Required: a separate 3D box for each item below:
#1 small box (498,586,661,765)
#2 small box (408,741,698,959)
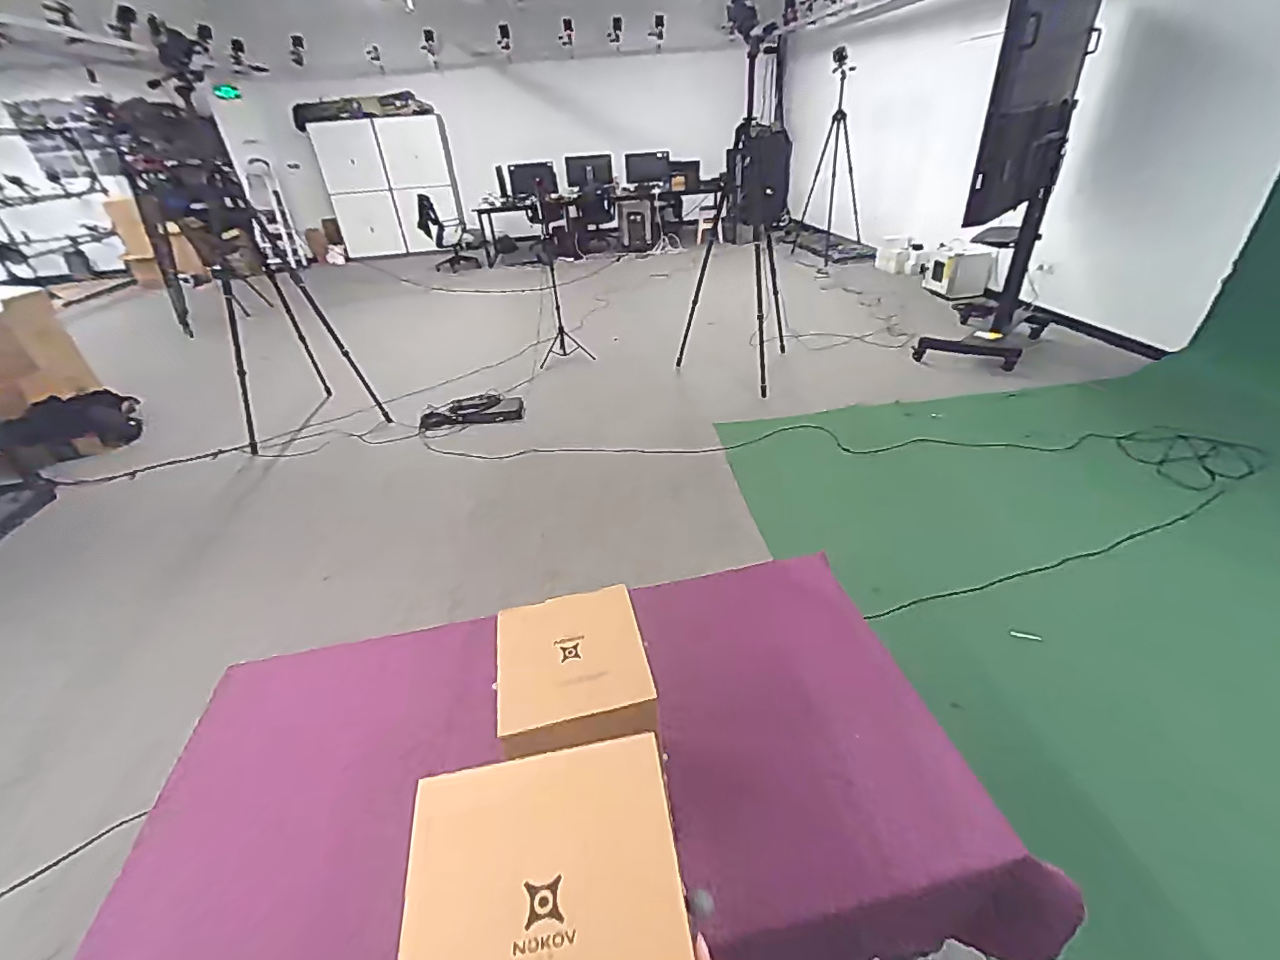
[{"bbox_3d":[-0.073,0.263,0.662,0.168,0.176,0.179,-11,34,-7],"label":"small box"},{"bbox_3d":[-0.049,0.313,0.375,0.168,0.176,0.179,-9,45,-4],"label":"small box"}]
